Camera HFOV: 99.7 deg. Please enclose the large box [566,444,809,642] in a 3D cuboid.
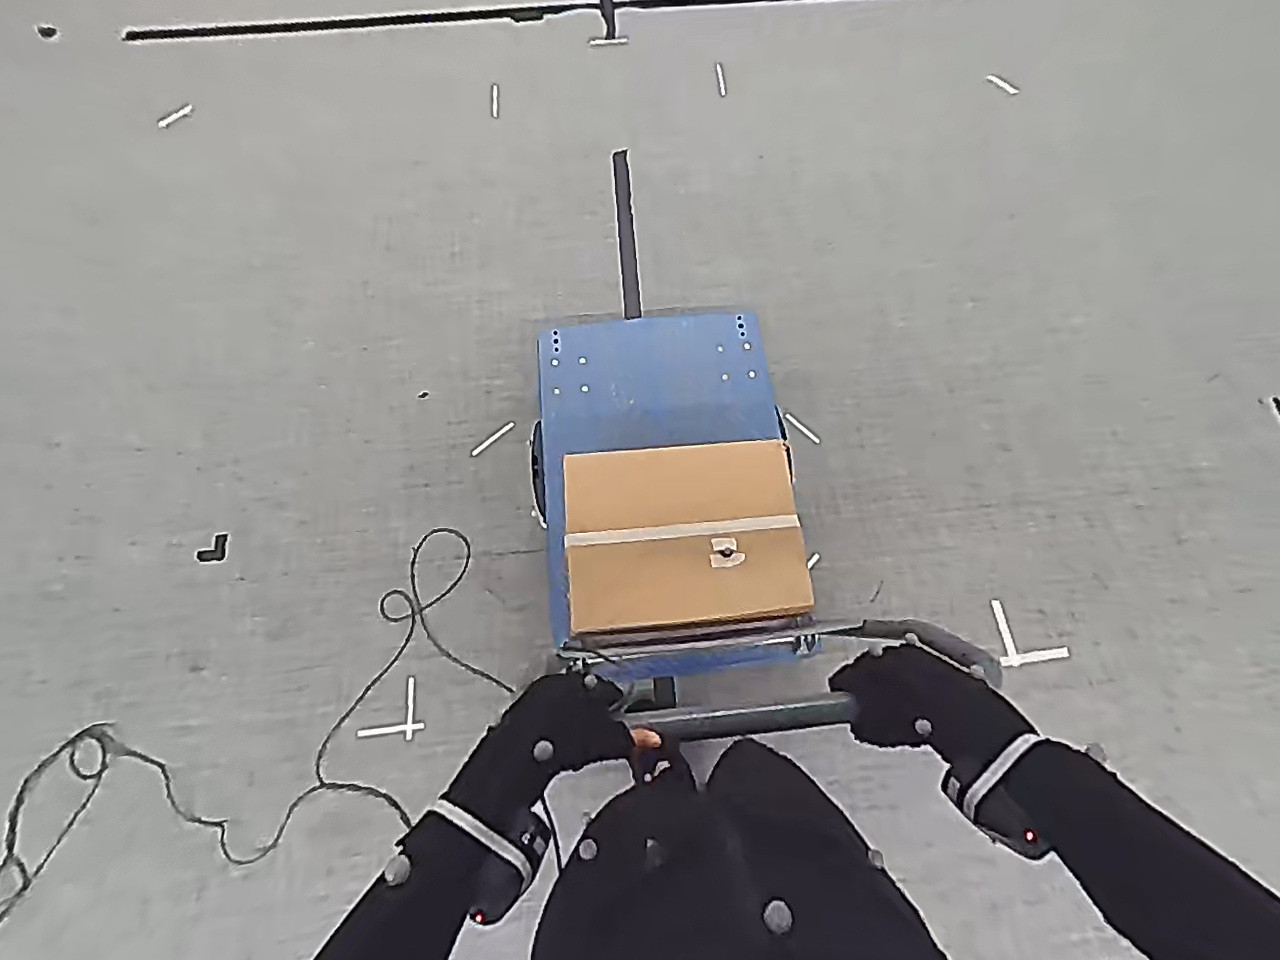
[{"bbox_3d":[0.071,0.142,1.094,0.408,0.320,0.320,-5,72,-3],"label":"large box"}]
